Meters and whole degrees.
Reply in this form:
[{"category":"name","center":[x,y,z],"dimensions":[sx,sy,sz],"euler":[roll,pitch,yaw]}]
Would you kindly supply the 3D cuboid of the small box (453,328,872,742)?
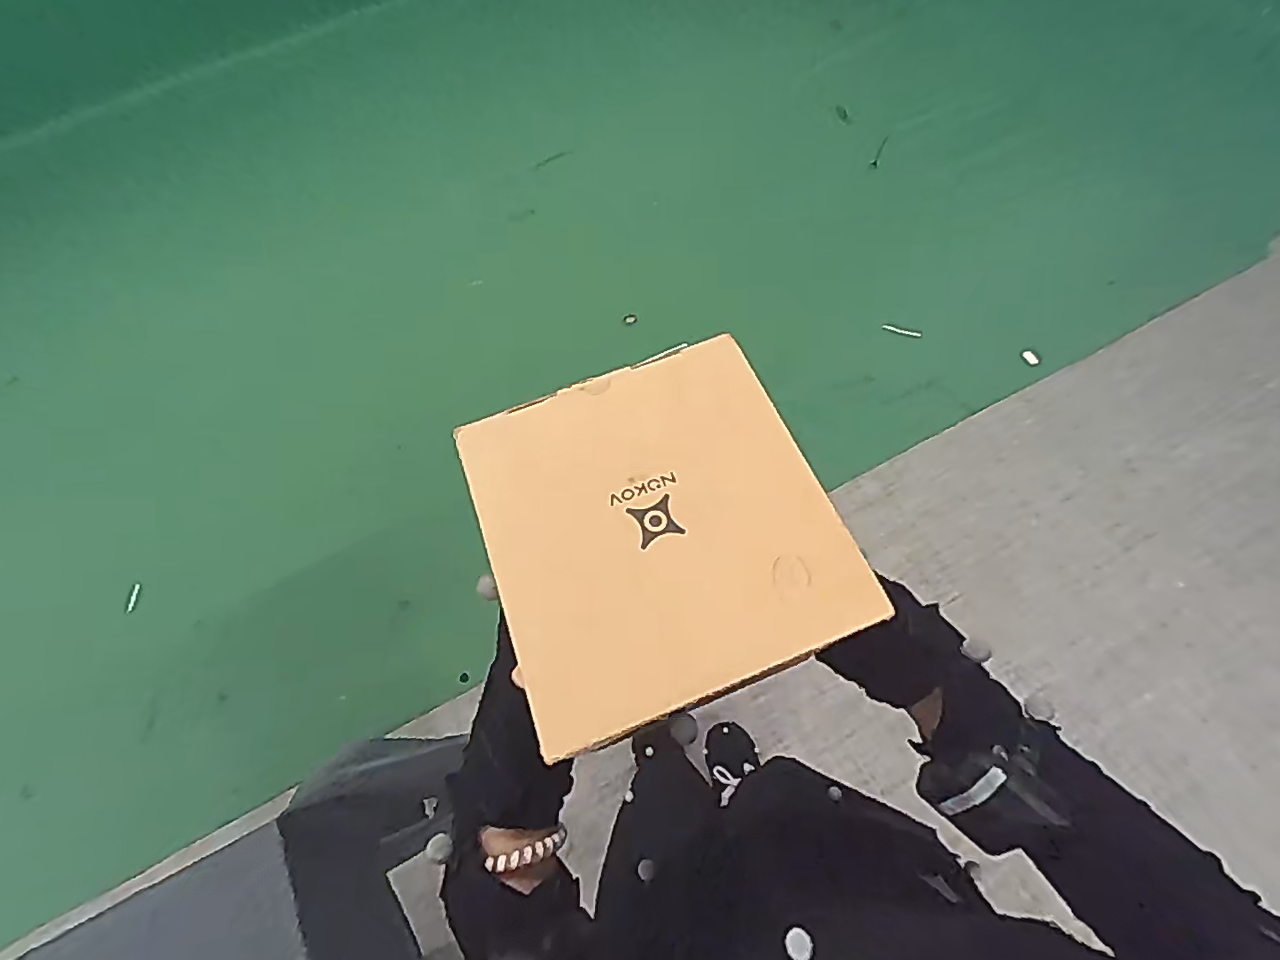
[{"category":"small box","center":[0.007,0.044,0.343],"dimensions":[0.168,0.176,0.179],"euler":[-21,65,-6]}]
